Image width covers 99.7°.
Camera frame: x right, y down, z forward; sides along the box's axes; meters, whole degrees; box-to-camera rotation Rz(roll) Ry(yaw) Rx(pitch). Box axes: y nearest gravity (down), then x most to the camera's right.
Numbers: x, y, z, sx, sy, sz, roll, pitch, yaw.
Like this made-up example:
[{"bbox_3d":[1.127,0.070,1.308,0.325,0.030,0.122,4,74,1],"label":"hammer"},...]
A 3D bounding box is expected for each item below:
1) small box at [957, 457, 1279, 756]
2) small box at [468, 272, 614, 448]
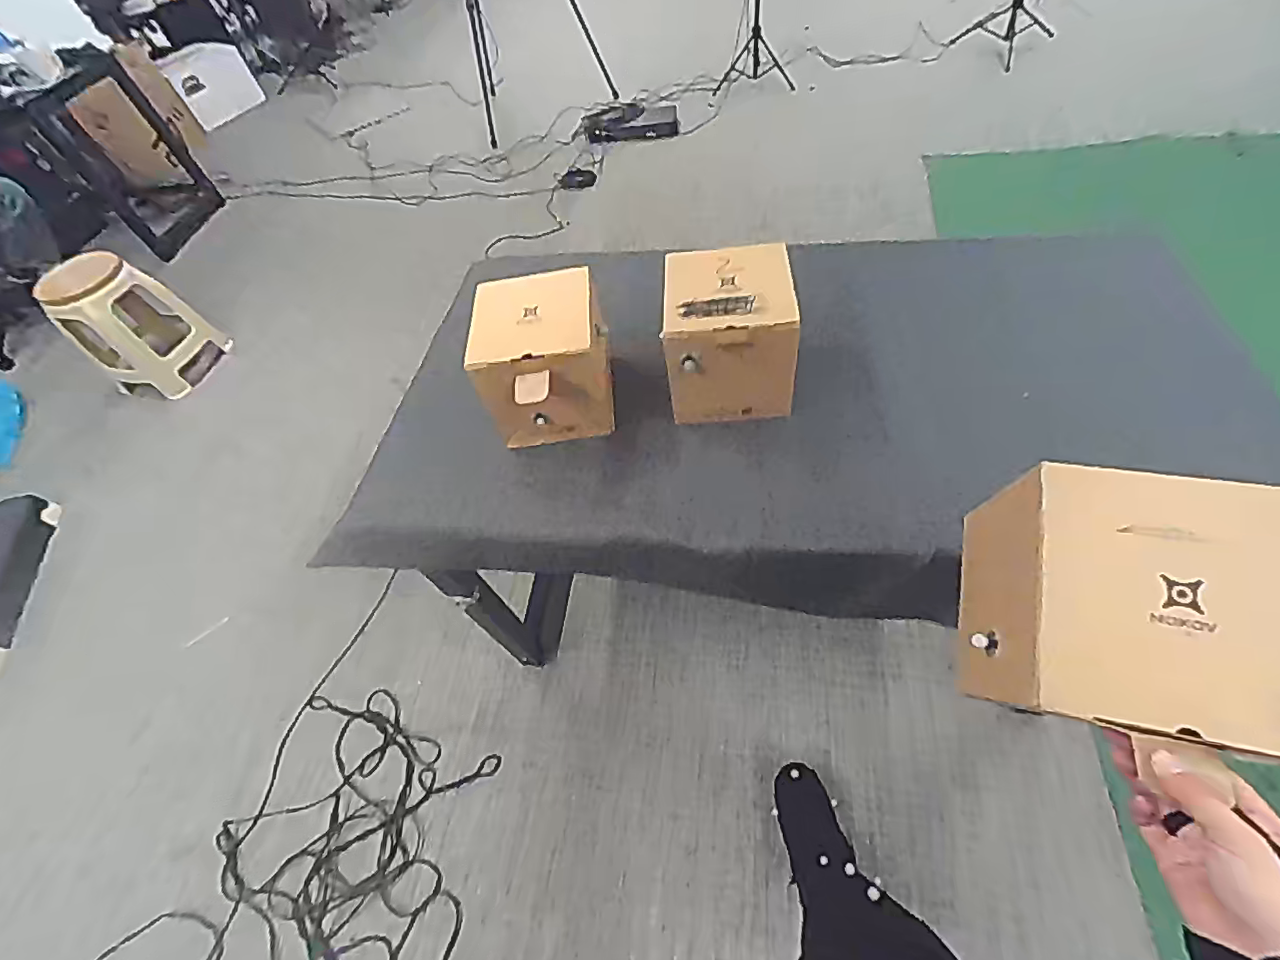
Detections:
[{"bbox_3d":[0.371,0.098,0.430,0.168,0.176,0.179,7,74,15],"label":"small box"},{"bbox_3d":[-0.132,-0.171,0.789,0.168,0.176,0.179,-8,54,4],"label":"small box"}]
